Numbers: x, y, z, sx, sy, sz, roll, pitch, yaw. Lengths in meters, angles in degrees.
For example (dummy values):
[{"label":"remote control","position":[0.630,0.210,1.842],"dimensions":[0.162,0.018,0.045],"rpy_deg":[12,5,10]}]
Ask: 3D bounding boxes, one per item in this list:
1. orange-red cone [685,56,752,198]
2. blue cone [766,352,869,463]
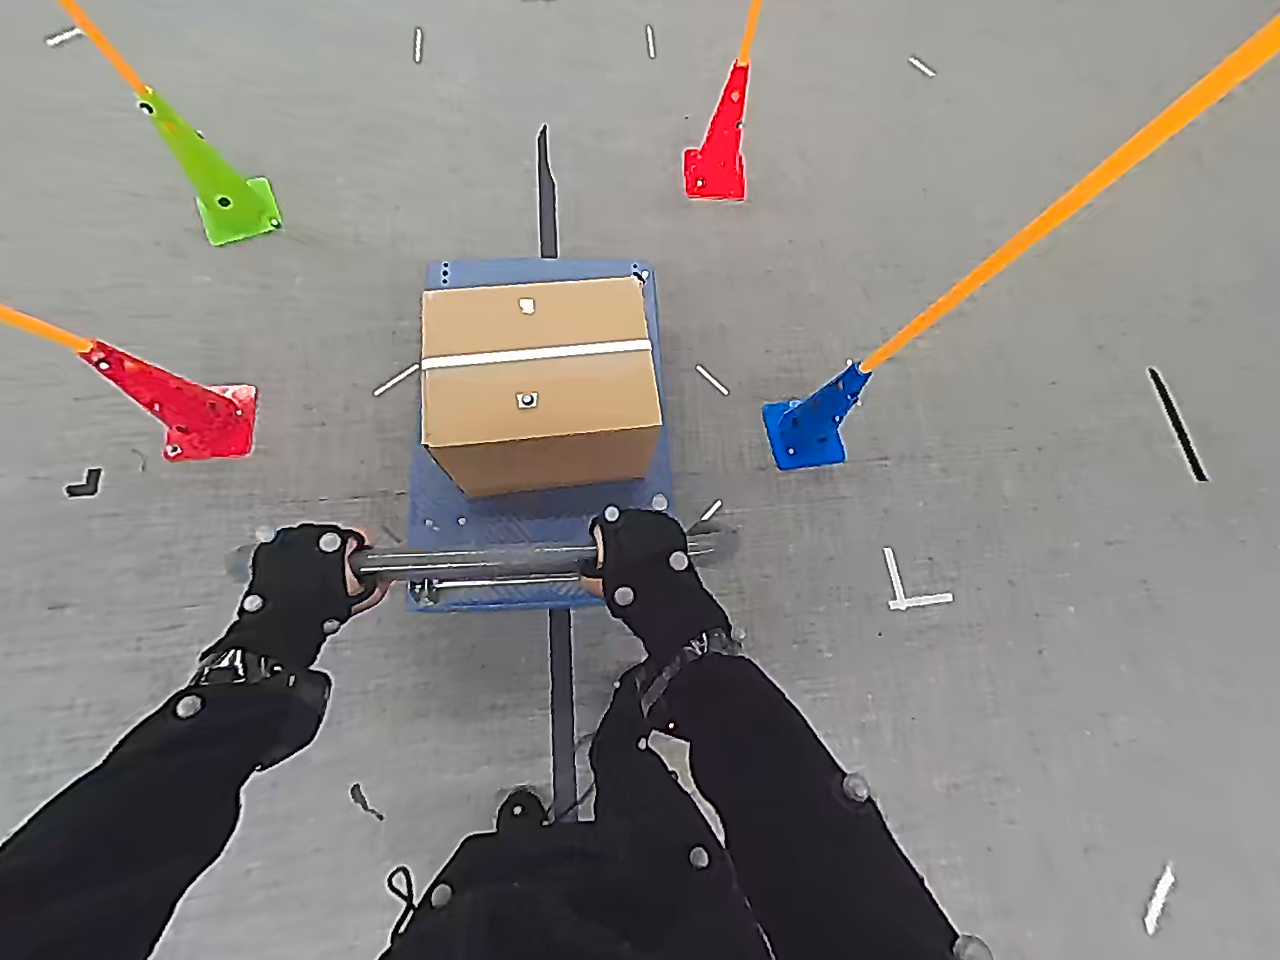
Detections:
[{"label":"orange-red cone","position":[0.262,-1.047,1.583],"dimensions":[0.199,0.360,0.198],"rpy_deg":[3,73,-5]},{"label":"blue cone","position":[0.468,-0.193,1.342],"dimensions":[0.193,0.380,0.192],"rpy_deg":[-7,72,-8]}]
